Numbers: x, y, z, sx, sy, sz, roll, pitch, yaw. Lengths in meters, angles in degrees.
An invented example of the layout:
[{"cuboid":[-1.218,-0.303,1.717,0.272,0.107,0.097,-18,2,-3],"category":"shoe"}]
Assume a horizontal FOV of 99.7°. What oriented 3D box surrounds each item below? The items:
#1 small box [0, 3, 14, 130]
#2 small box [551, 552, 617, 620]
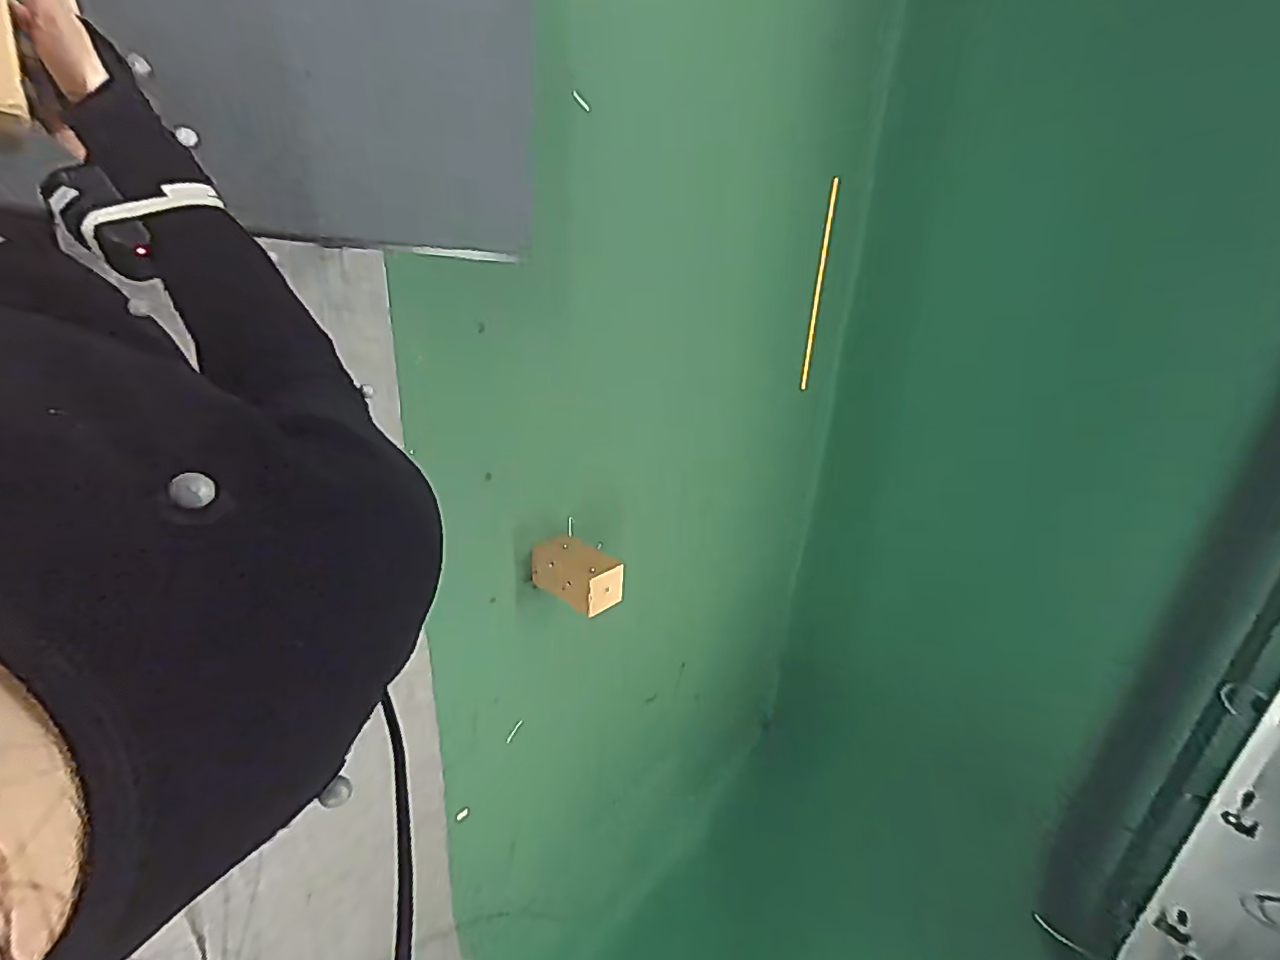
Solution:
[{"cuboid":[-0.455,-0.307,0.270,0.168,0.176,0.179,-11,112,-48],"category":"small box"},{"cuboid":[-0.211,0.392,2.036,0.179,0.176,0.168,-18,120,-47],"category":"small box"}]
